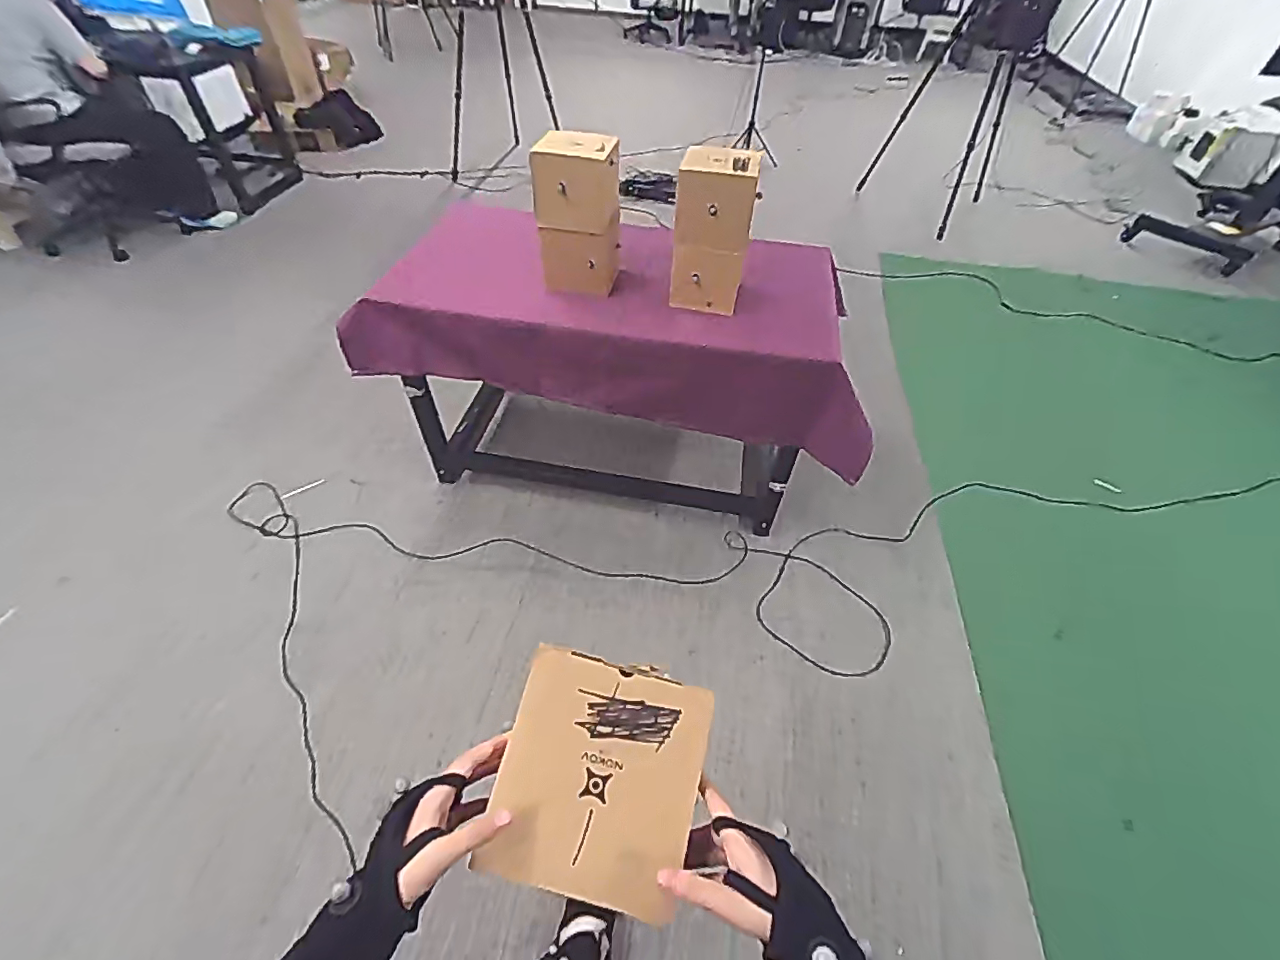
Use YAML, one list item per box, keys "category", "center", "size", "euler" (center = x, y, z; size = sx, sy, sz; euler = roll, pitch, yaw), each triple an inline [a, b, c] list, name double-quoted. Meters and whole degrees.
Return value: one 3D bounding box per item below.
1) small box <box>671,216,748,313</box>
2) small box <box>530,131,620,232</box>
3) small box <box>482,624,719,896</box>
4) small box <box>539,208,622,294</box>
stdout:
- category: "small box"
  center: [0.177, -0.554, 1.396]
  size: [0.168, 0.176, 0.179]
  euler: [11, 48, 7]
- category: "small box"
  center: [-0.149, -0.720, 1.307]
  size: [0.179, 0.176, 0.168]
  euler: [10, 48, 6]
- category: "small box"
  center: [-0.033, 0.258, 0.533]
  size: [0.168, 0.176, 0.179]
  euler: [15, 68, 3]
- category: "small box"
  center: [-0.151, -0.612, 1.430]
  size: [0.179, 0.176, 0.168]
  euler: [10, 48, 6]
